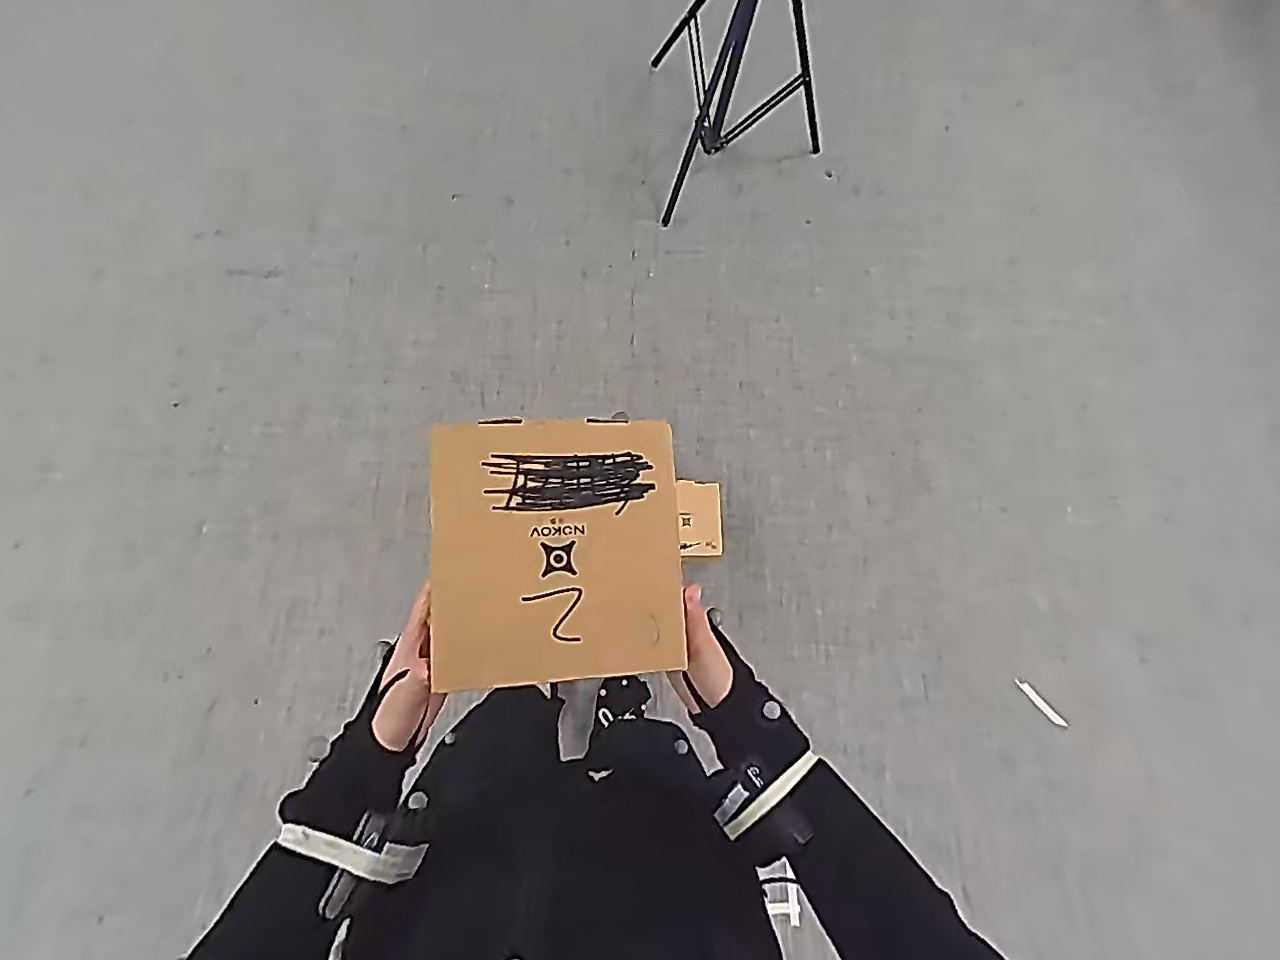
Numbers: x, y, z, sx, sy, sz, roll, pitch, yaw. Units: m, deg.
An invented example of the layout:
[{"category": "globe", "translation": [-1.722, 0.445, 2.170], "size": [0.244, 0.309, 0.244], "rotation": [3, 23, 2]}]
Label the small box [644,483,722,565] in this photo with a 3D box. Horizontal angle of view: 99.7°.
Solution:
[{"category": "small box", "translation": [0.100, 0.113, 1.339], "size": [0.168, 0.176, 0.179], "rotation": [1, 76, -6]}]
